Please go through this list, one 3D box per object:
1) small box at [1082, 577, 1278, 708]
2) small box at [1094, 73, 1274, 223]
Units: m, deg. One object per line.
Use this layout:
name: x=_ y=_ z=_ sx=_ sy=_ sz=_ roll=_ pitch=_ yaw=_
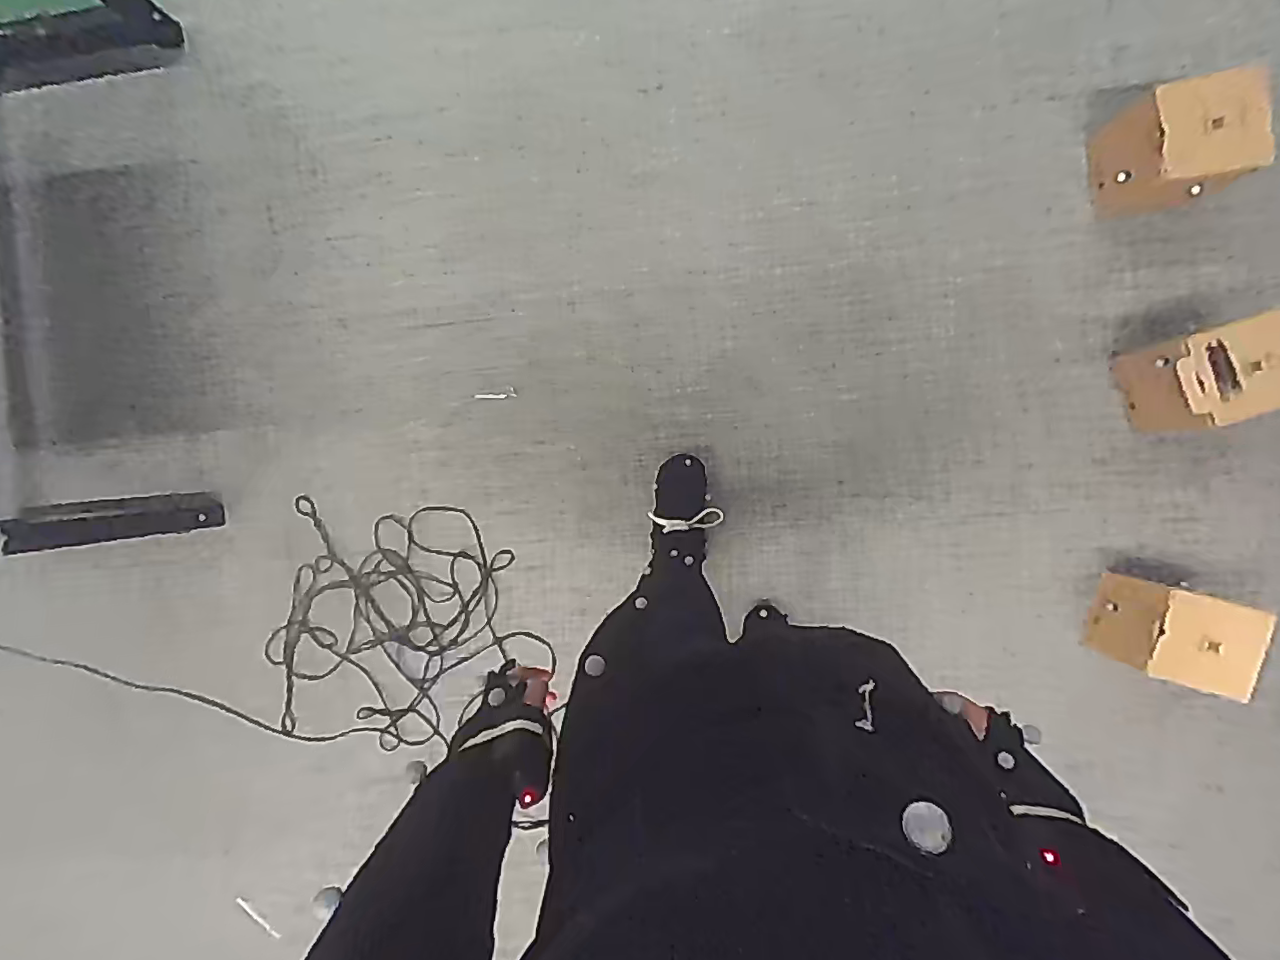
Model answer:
small box: x=1.008 y=0.296 z=1.026 sx=0.179 sy=0.176 sz=0.168 roll=15 pitch=93 yaw=5
small box: x=0.989 y=-0.600 z=1.002 sx=0.179 sy=0.176 sz=0.168 roll=-7 pitch=92 yaw=5
